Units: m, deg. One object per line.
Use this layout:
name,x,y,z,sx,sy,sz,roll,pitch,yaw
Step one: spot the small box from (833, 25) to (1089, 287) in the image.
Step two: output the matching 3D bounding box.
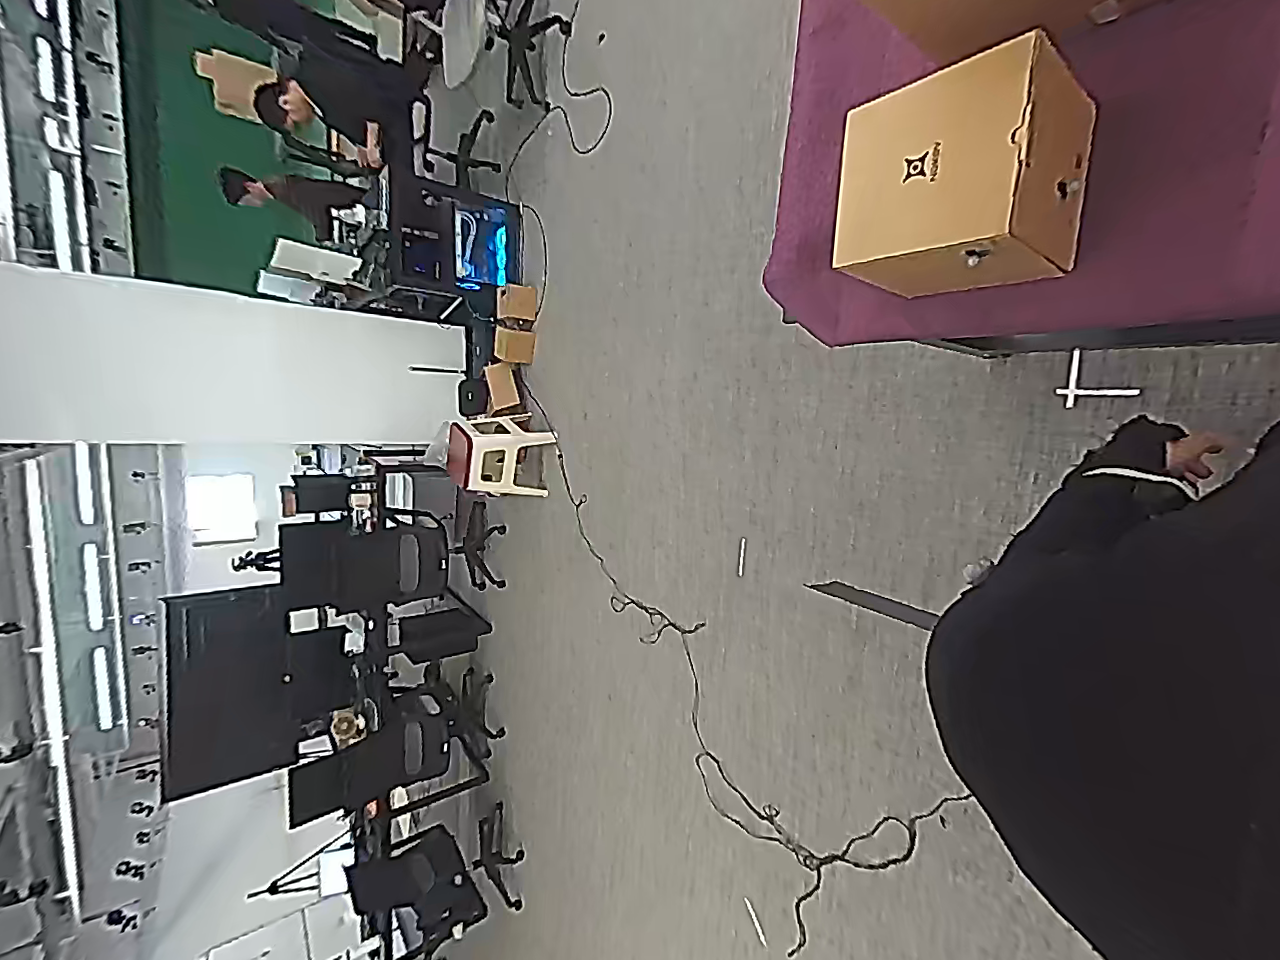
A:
small box,0.337,-0.314,0.577,0.179,0.176,0.168,11,100,52
